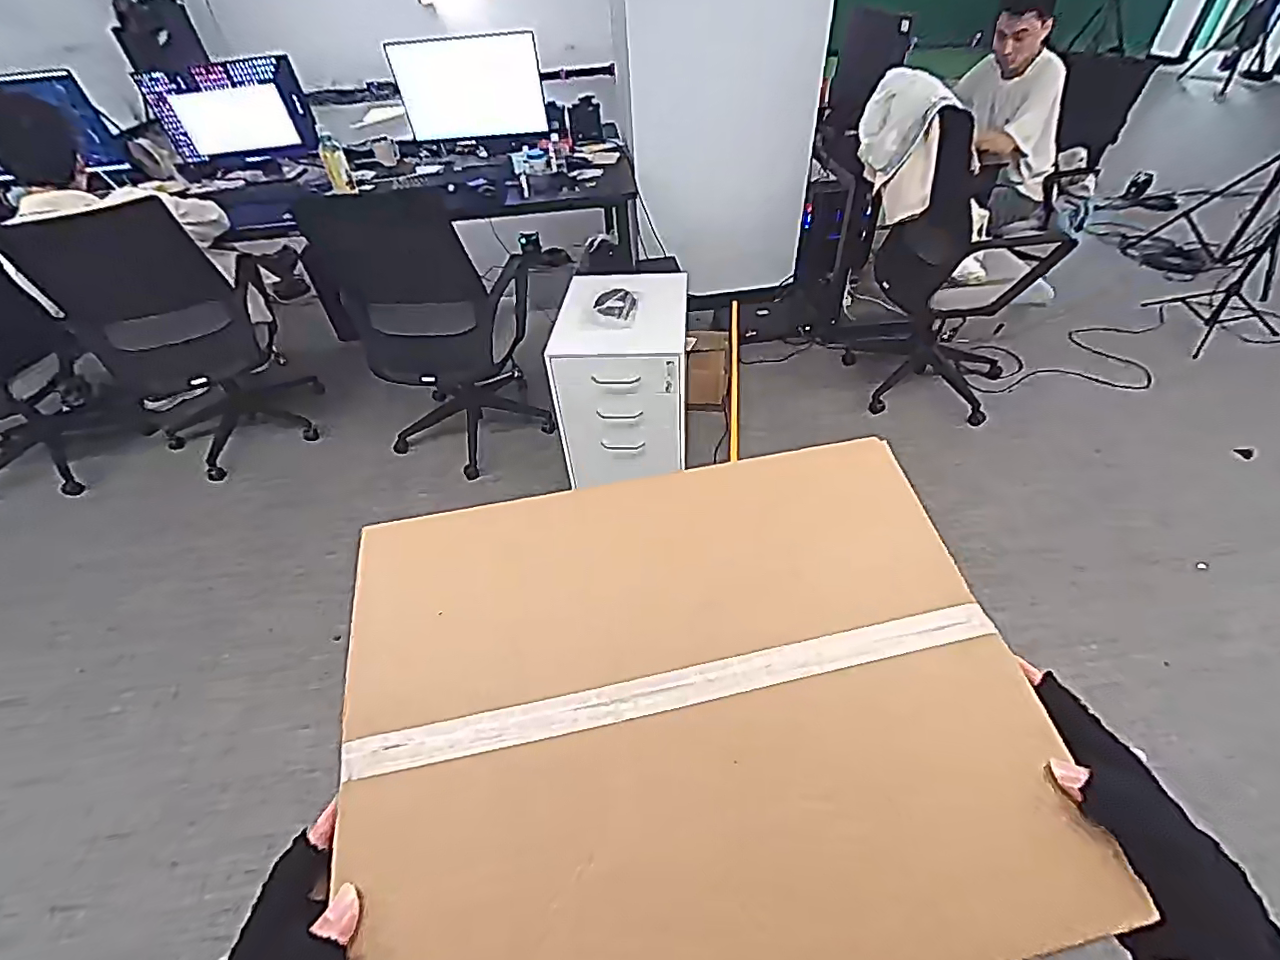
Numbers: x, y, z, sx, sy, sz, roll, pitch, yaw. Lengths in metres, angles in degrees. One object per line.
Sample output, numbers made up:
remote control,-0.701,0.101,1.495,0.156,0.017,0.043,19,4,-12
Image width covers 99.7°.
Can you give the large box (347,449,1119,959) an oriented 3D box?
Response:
large box,0.032,0.216,0.463,0.408,0.320,0.320,-11,57,-5
